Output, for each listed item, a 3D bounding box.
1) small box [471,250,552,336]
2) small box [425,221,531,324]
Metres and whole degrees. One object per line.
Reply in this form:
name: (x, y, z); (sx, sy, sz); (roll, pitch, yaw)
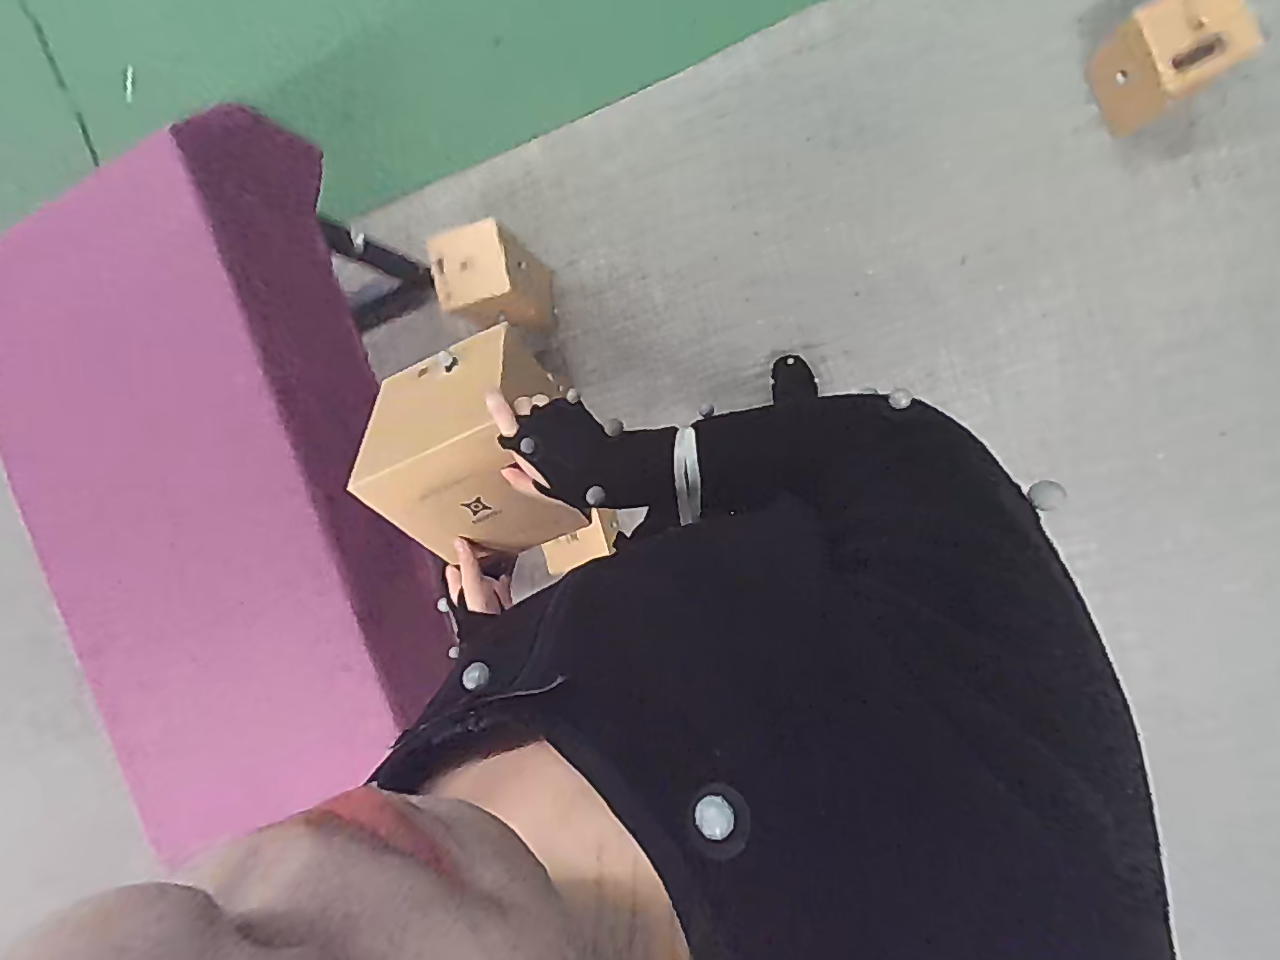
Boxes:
small box: (-0.345, -0.492, 1.444); (0.179, 0.176, 0.168); (-8, 94, 13)
small box: (-0.372, -0.482, 1.282); (0.179, 0.176, 0.168); (-12, 93, 11)
